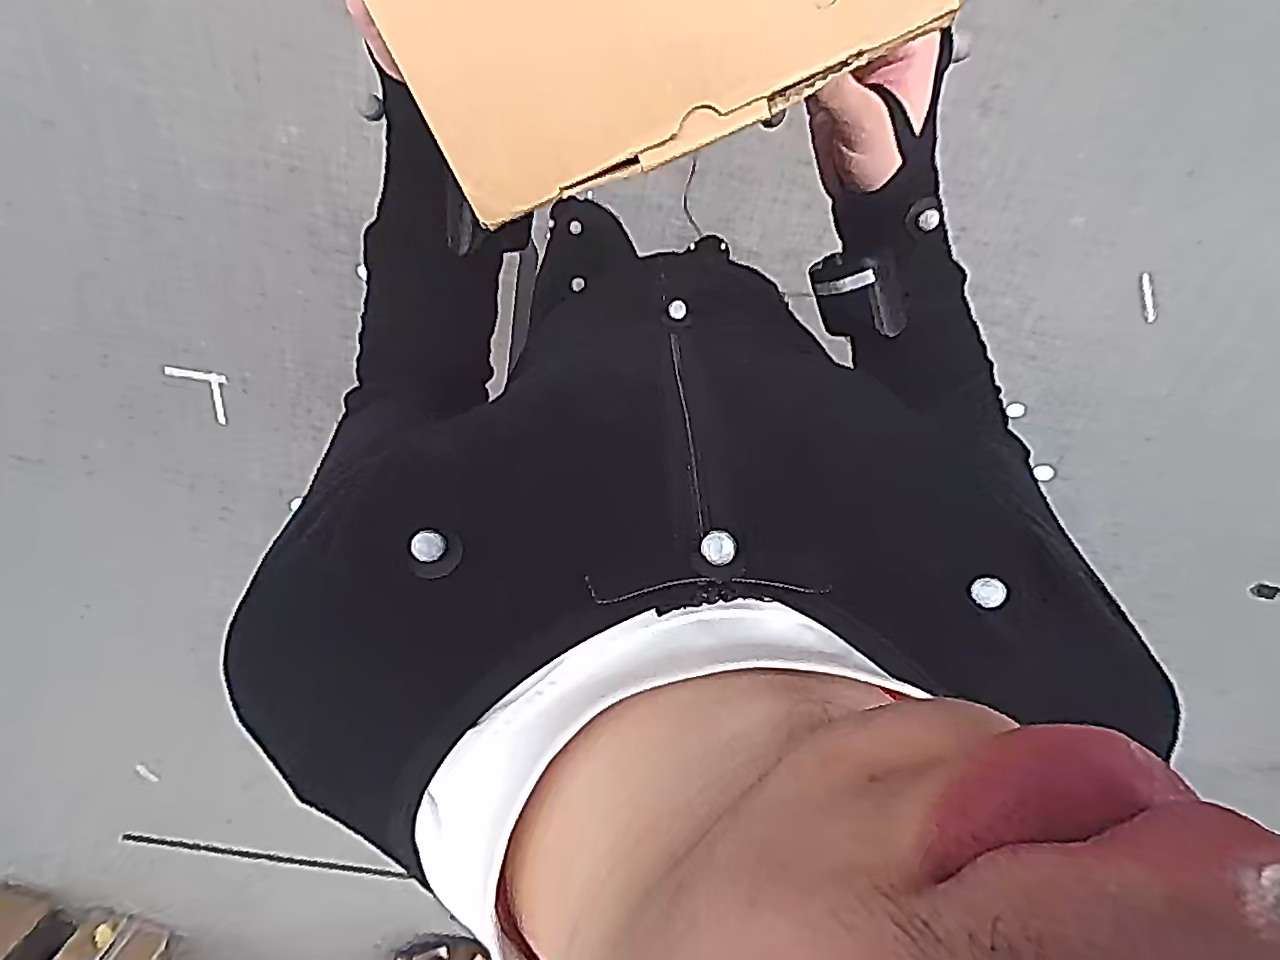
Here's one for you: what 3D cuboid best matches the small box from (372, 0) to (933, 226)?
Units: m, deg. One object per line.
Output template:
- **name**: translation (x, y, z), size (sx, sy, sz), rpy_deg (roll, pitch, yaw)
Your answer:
- **small box**: translation (-0.012, -0.231, 0.207), size (0.168, 0.176, 0.179), rpy_deg (-18, 123, 12)
